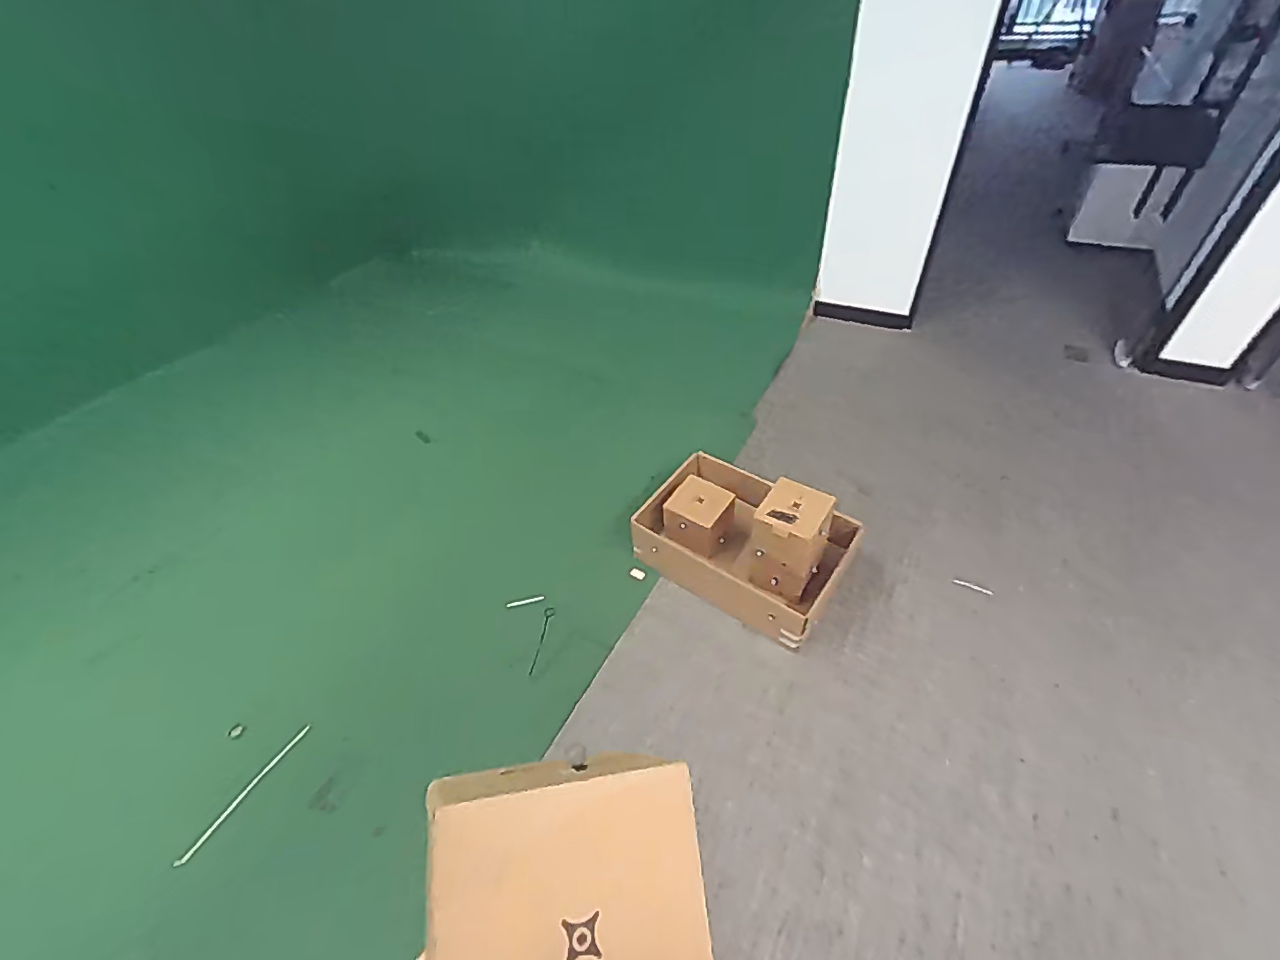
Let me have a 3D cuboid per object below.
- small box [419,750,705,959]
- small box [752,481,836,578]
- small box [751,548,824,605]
[{"bbox_3d":[-0.067,0.299,0.387,0.168,0.176,0.179,2,69,-21],"label":"small box"},{"bbox_3d":[0.424,0.141,1.504,0.168,0.176,0.179,23,52,28],"label":"small box"},{"bbox_3d":[0.447,0.246,1.629,0.168,0.176,0.179,23,53,26],"label":"small box"}]
